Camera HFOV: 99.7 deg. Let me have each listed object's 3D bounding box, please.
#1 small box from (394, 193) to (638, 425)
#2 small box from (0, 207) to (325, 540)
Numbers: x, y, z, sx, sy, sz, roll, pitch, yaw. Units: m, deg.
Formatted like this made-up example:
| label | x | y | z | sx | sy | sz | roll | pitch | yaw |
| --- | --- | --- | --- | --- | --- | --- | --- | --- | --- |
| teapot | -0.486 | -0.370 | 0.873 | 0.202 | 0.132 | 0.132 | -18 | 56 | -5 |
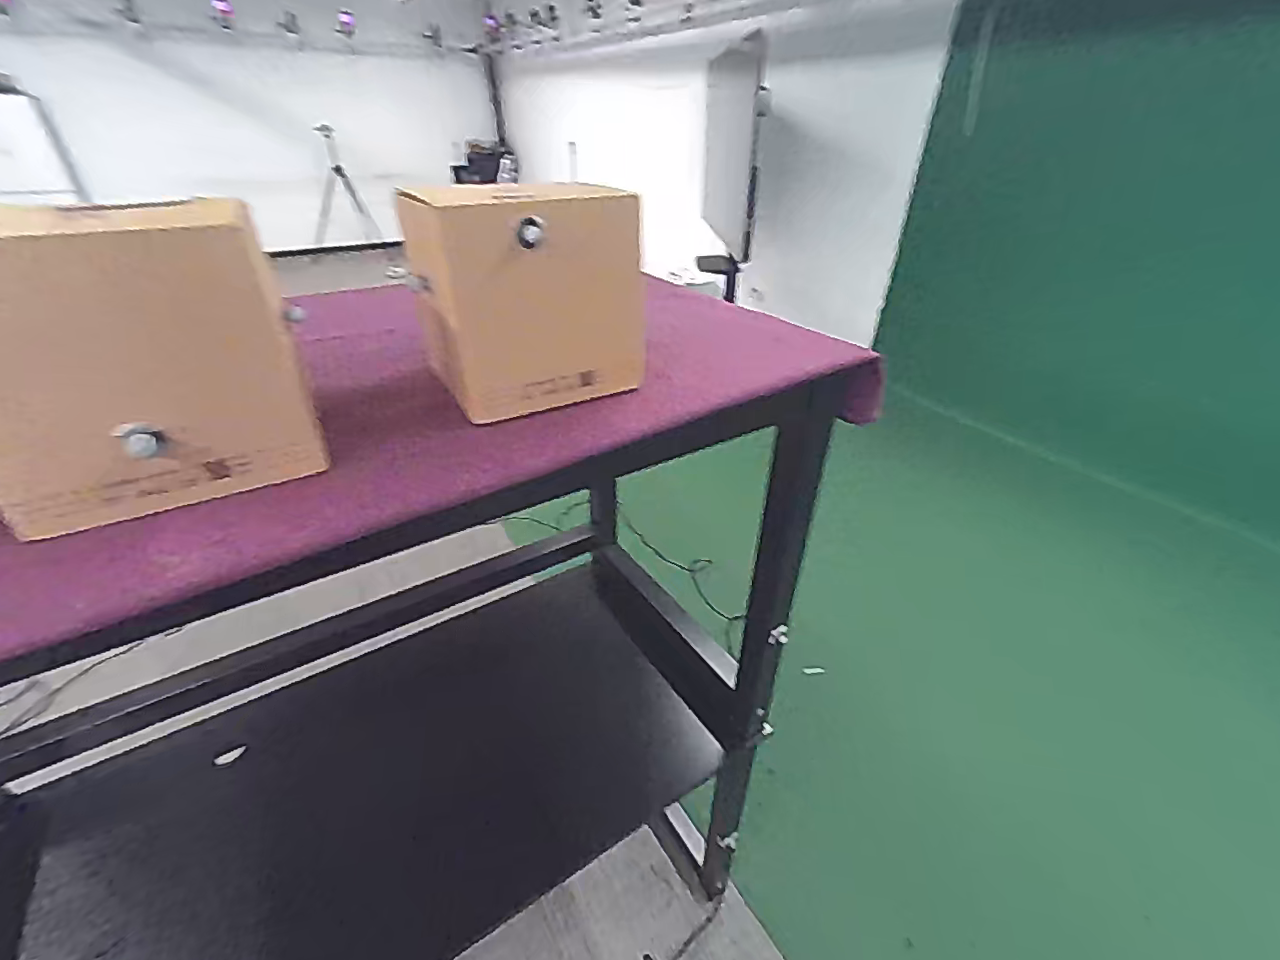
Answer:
| label | x | y | z | sx | sy | sz | roll | pitch | yaw |
| --- | --- | --- | --- | --- | --- | --- | --- | --- | --- |
| small box | -0.113 | -0.169 | 0.507 | 0.168 | 0.176 | 0.179 | -18 | 35 | -25 |
| small box | -0.341 | -0.087 | 0.379 | 0.168 | 0.176 | 0.179 | -18 | 37 | -25 |
